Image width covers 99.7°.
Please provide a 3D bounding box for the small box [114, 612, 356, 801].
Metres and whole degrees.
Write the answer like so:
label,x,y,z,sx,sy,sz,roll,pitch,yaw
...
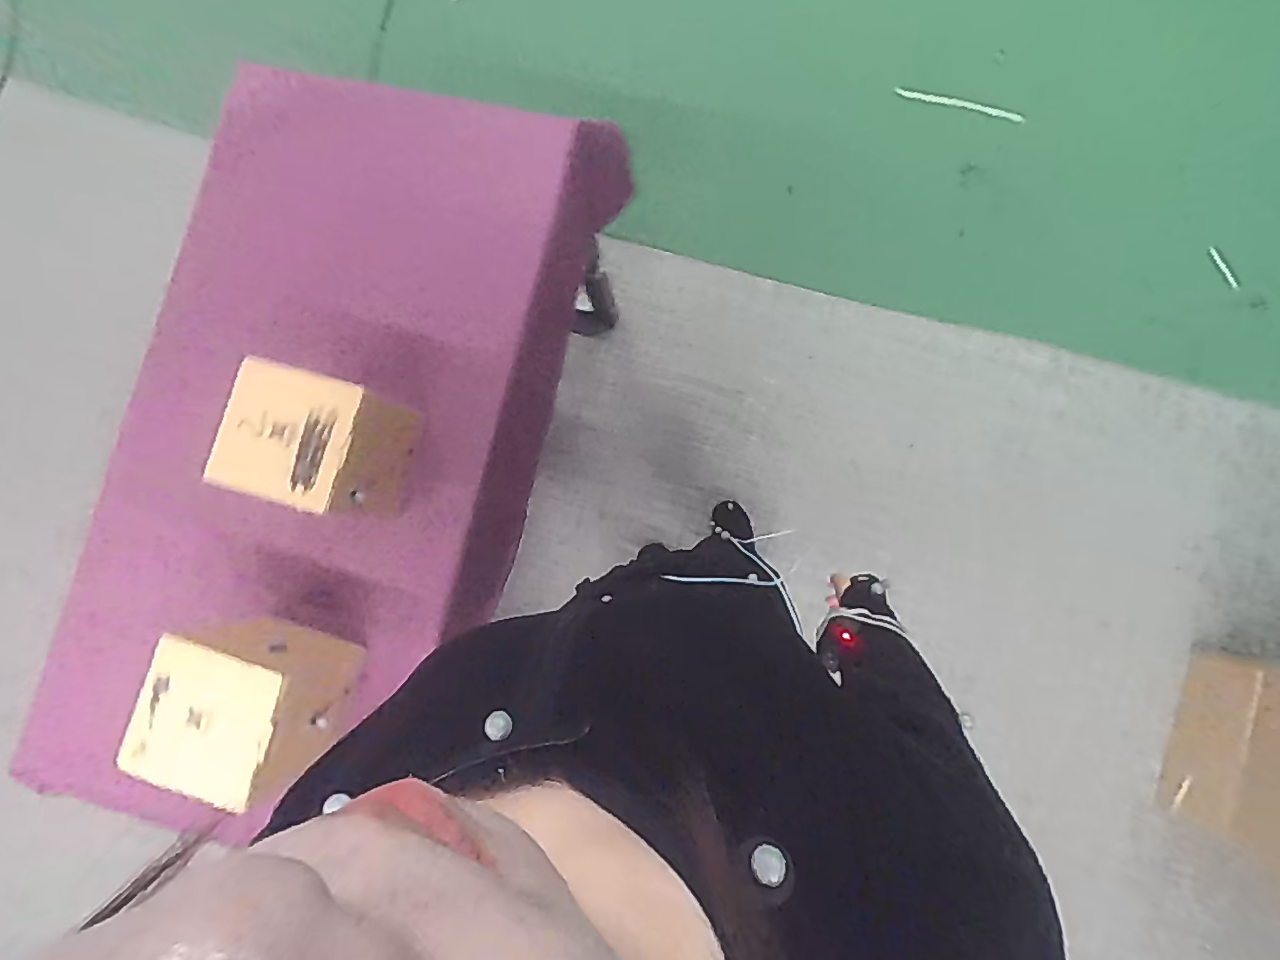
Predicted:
label,x,y,z,sx,sy,sz,roll,pitch,yaw
small box,-0.525,0.288,0.730,0.179,0.176,0.168,16,85,5
